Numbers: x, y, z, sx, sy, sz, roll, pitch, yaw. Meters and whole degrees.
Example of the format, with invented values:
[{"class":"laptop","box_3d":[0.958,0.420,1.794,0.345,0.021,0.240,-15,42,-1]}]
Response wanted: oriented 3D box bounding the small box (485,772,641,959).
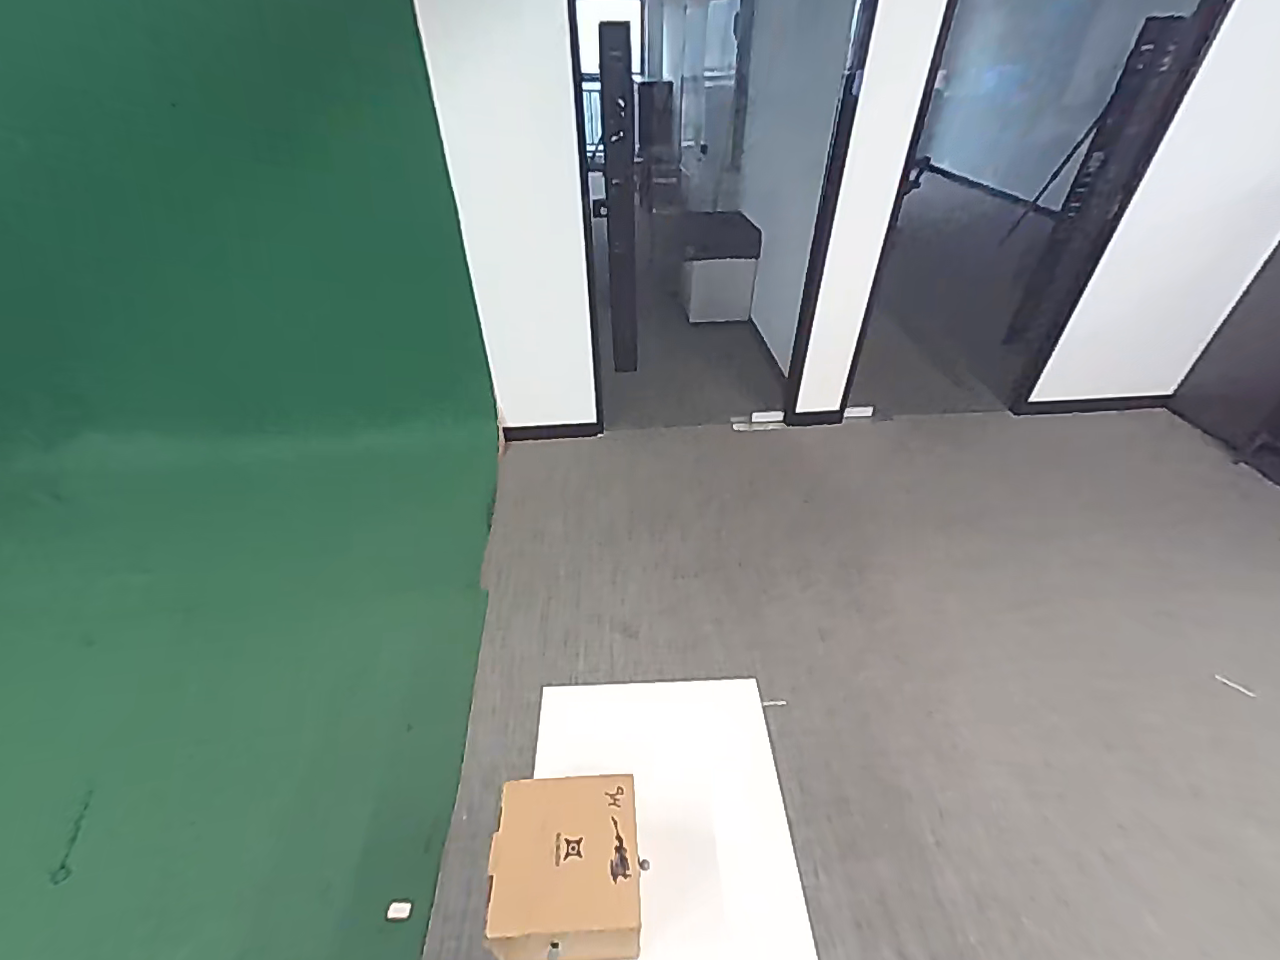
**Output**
[{"class":"small box","box_3d":[-0.090,0.510,0.712,0.179,0.176,0.168,-2,40,-3]}]
